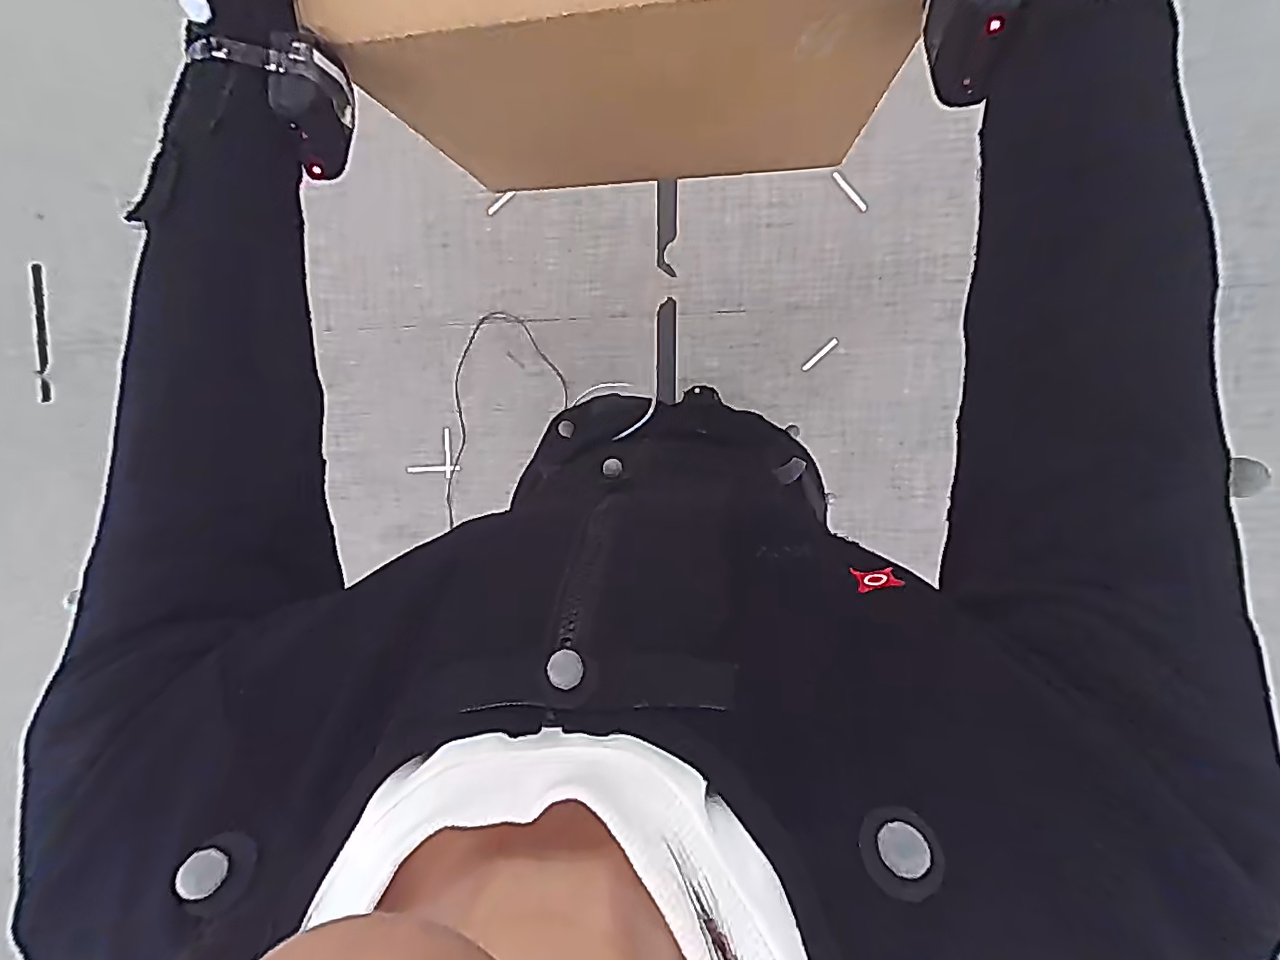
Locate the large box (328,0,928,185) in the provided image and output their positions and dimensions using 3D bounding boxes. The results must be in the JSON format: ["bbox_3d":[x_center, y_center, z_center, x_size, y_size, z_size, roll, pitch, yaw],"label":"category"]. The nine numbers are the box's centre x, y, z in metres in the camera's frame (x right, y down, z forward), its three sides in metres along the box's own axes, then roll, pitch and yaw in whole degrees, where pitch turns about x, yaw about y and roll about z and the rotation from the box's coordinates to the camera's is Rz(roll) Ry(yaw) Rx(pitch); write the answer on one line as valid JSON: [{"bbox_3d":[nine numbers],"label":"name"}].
[{"bbox_3d":[0.000,-0.476,0.449,0.408,0.320,0.320,-1,102,7],"label":"large box"}]
